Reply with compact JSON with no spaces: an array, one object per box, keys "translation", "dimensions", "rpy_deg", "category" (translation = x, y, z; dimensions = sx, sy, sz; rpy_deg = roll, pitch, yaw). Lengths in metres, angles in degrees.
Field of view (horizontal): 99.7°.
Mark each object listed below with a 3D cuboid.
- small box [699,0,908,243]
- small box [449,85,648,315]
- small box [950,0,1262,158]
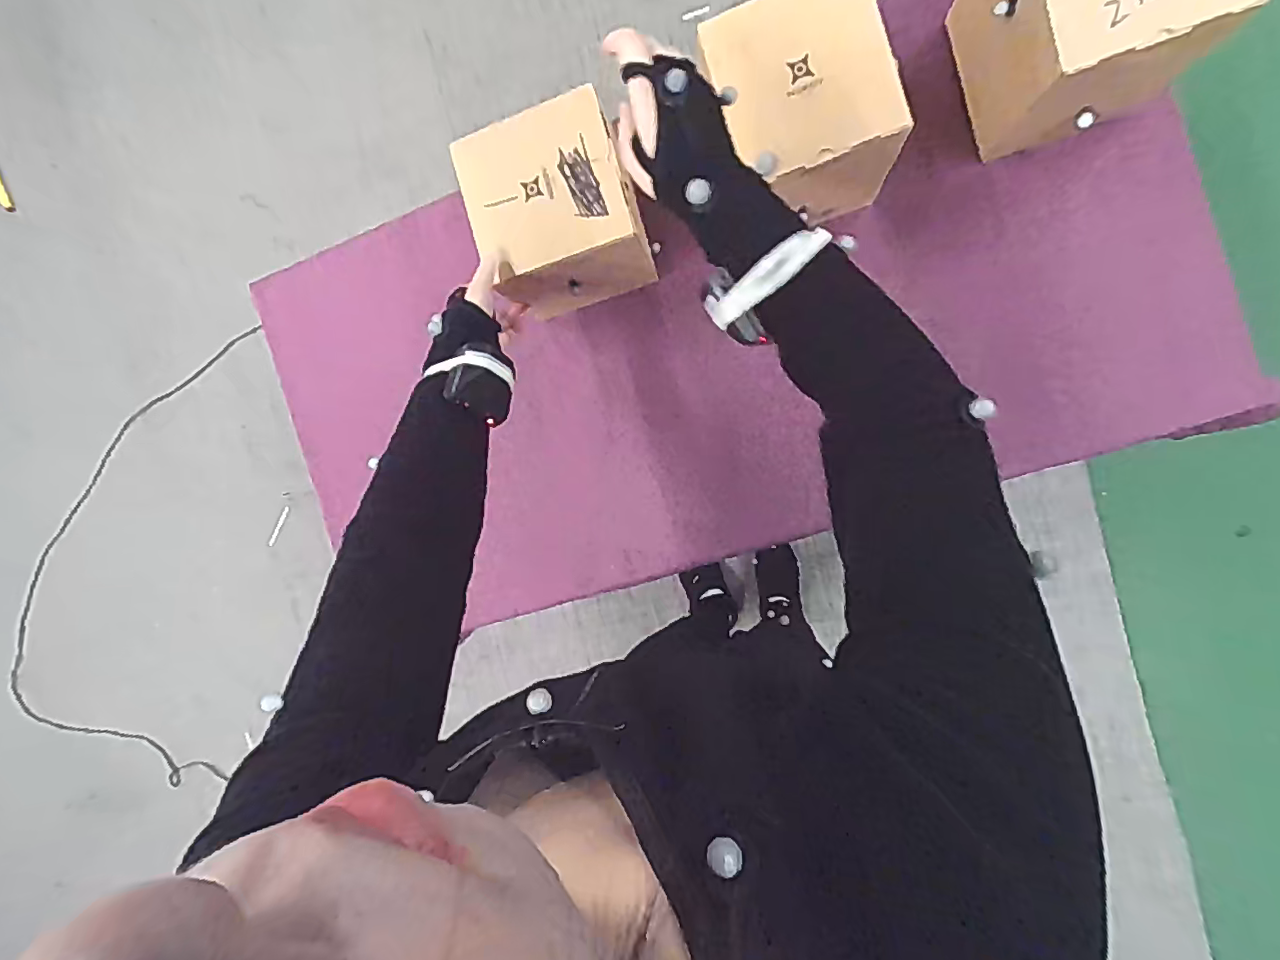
[{"translation":[0.170,-0.403,0.608],"dimensions":[0.168,0.176,0.179],"rpy_deg":[-17,91,11],"category":"small box"},{"translation":[-0.095,-0.320,0.660],"dimensions":[0.179,0.176,0.168],"rpy_deg":[-15,91,12],"category":"small box"},{"translation":[0.444,-0.474,0.548],"dimensions":[0.168,0.176,0.179],"rpy_deg":[-14,93,12],"category":"small box"}]
